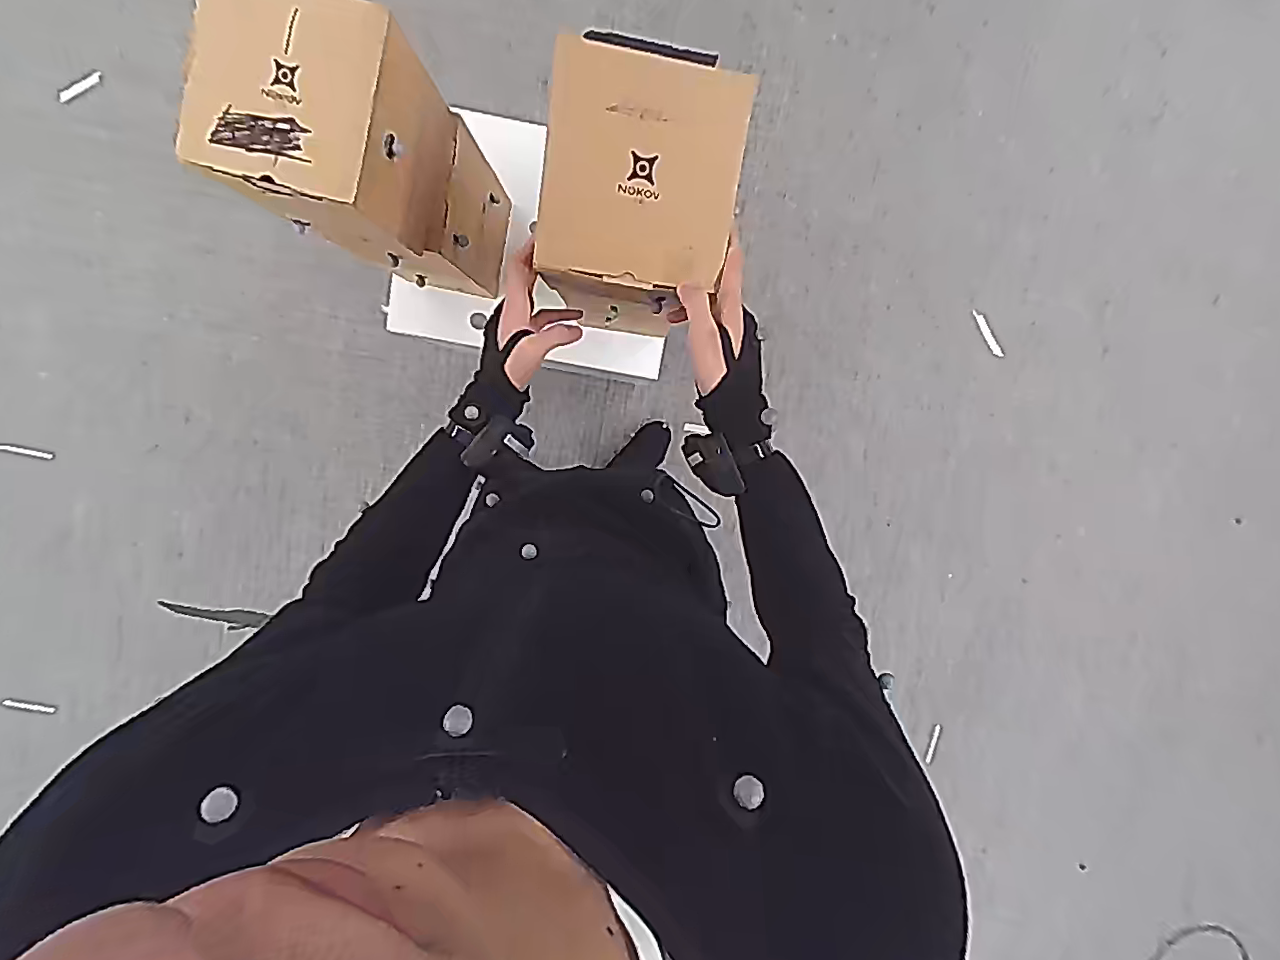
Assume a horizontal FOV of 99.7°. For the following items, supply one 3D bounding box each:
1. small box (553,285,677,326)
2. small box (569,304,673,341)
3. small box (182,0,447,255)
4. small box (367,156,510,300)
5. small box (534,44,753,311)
[{"bbox_3d":[-0.016,-0.319,0.742,0.168,0.176,0.179,9,98,-2],"label":"small box"},{"bbox_3d":[-0.019,-0.342,0.906,0.168,0.176,0.179,8,98,-1],"label":"small box"},{"bbox_3d":[-0.319,-0.358,0.564,0.168,0.176,0.179,14,96,-3],"label":"small box"},{"bbox_3d":[-0.320,-0.409,0.889,0.168,0.176,0.179,11,97,-4],"label":"small box"},{"bbox_3d":[-0.005,-0.269,0.530,0.168,0.176,0.179,7,102,-7],"label":"small box"}]
